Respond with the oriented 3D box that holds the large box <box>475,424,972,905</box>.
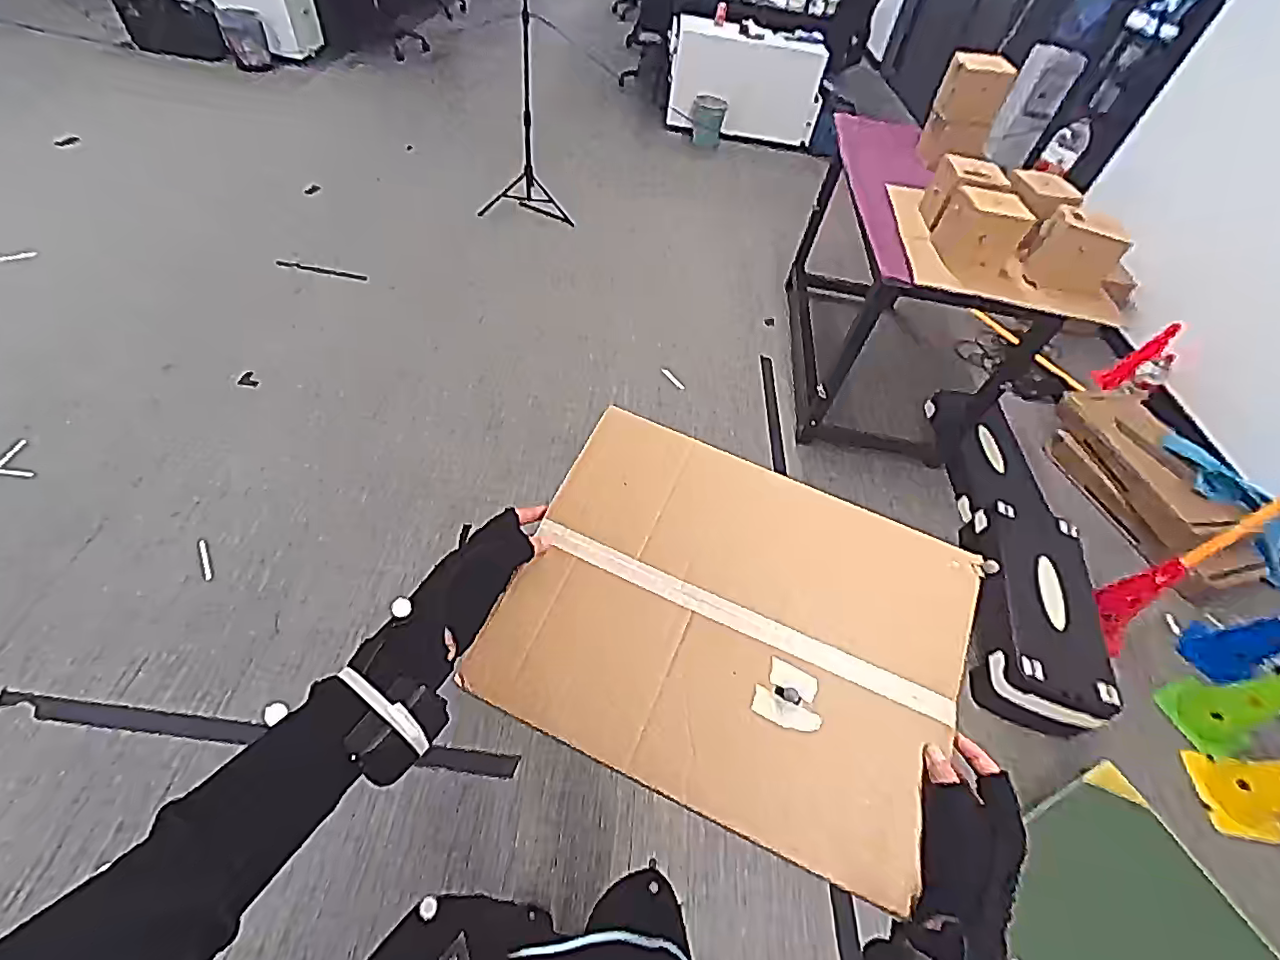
[{"bbox_3d":[0.085,0.198,0.643,0.408,0.320,0.320,24,67,8],"label":"large box"}]
